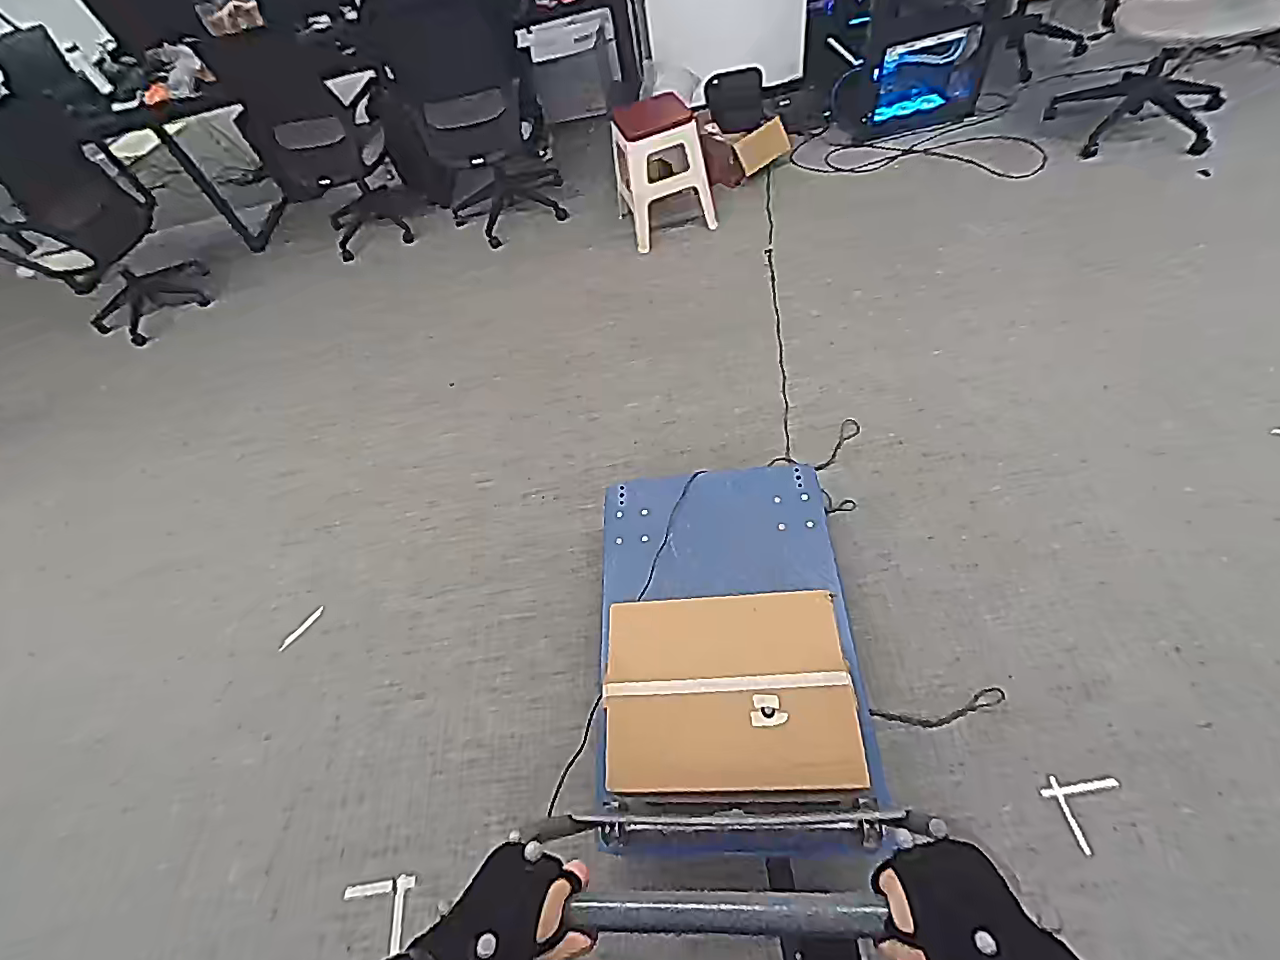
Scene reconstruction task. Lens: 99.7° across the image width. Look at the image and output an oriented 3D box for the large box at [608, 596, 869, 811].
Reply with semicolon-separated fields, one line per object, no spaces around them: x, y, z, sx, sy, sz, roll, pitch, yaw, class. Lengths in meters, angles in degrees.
0.164;0.435;1.023;0.408;0.320;0.320;-5;57;8;large box
